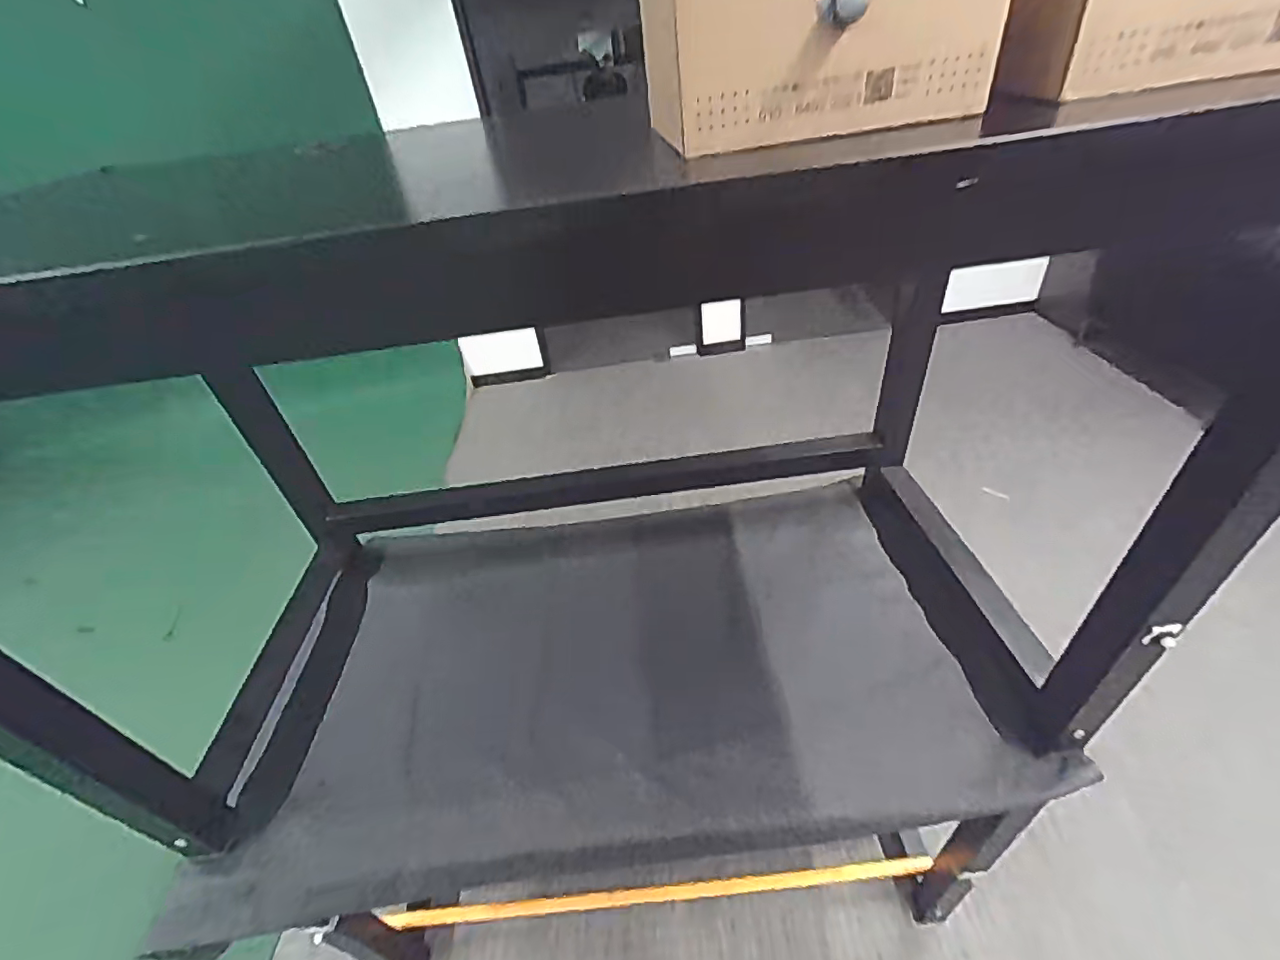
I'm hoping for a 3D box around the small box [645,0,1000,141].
[{"bbox_3d":[0.088,-0.305,0.309,0.168,0.176,0.179,-8,38,1],"label":"small box"}]
